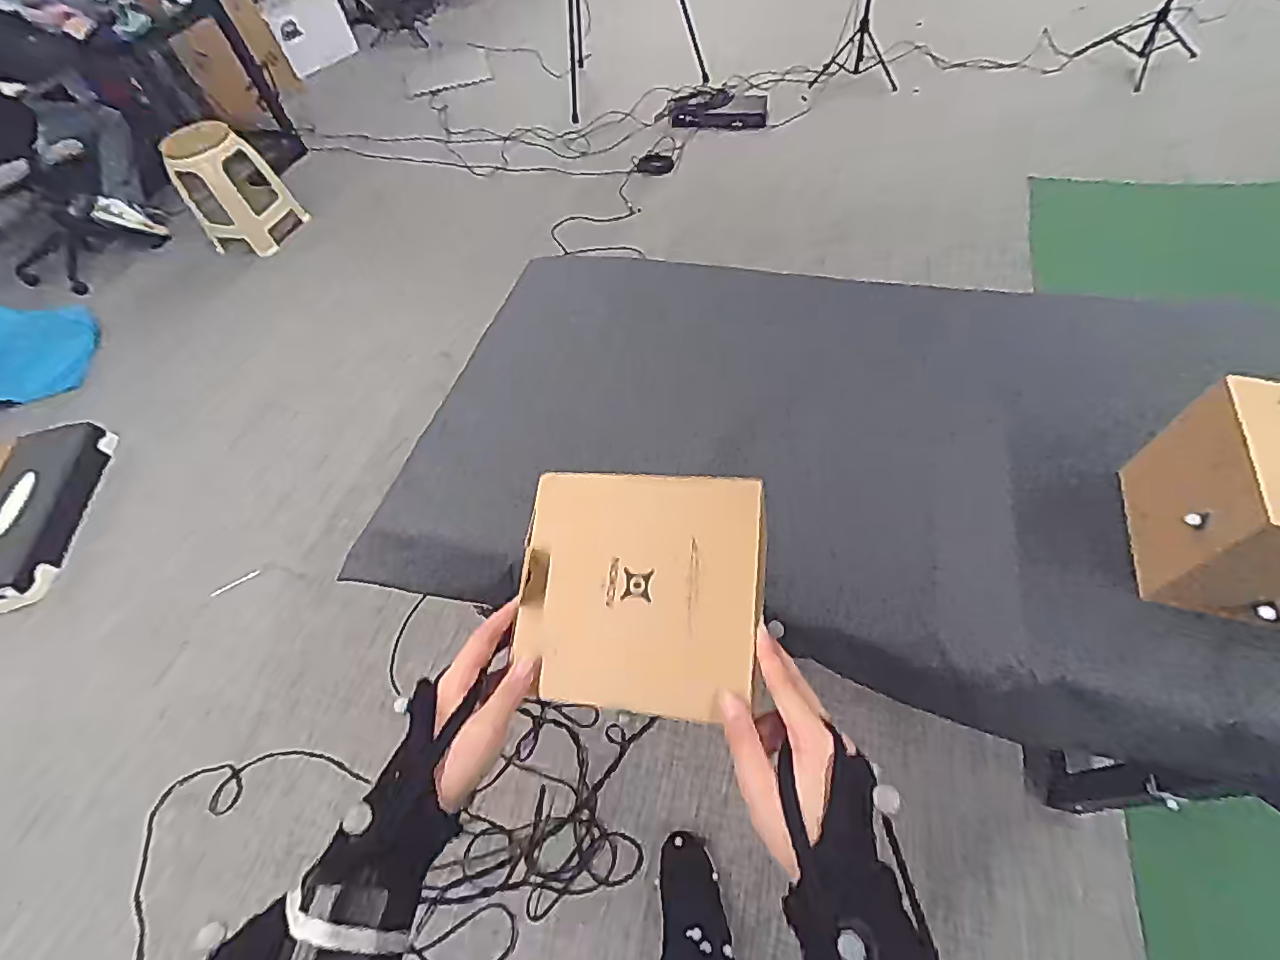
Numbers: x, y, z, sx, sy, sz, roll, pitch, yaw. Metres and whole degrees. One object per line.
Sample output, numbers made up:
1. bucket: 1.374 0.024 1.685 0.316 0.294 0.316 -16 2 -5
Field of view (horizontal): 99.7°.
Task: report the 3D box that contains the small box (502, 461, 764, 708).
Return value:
1. small box: 0.012 0.091 0.456 0.179 0.176 0.168 1 72 13
